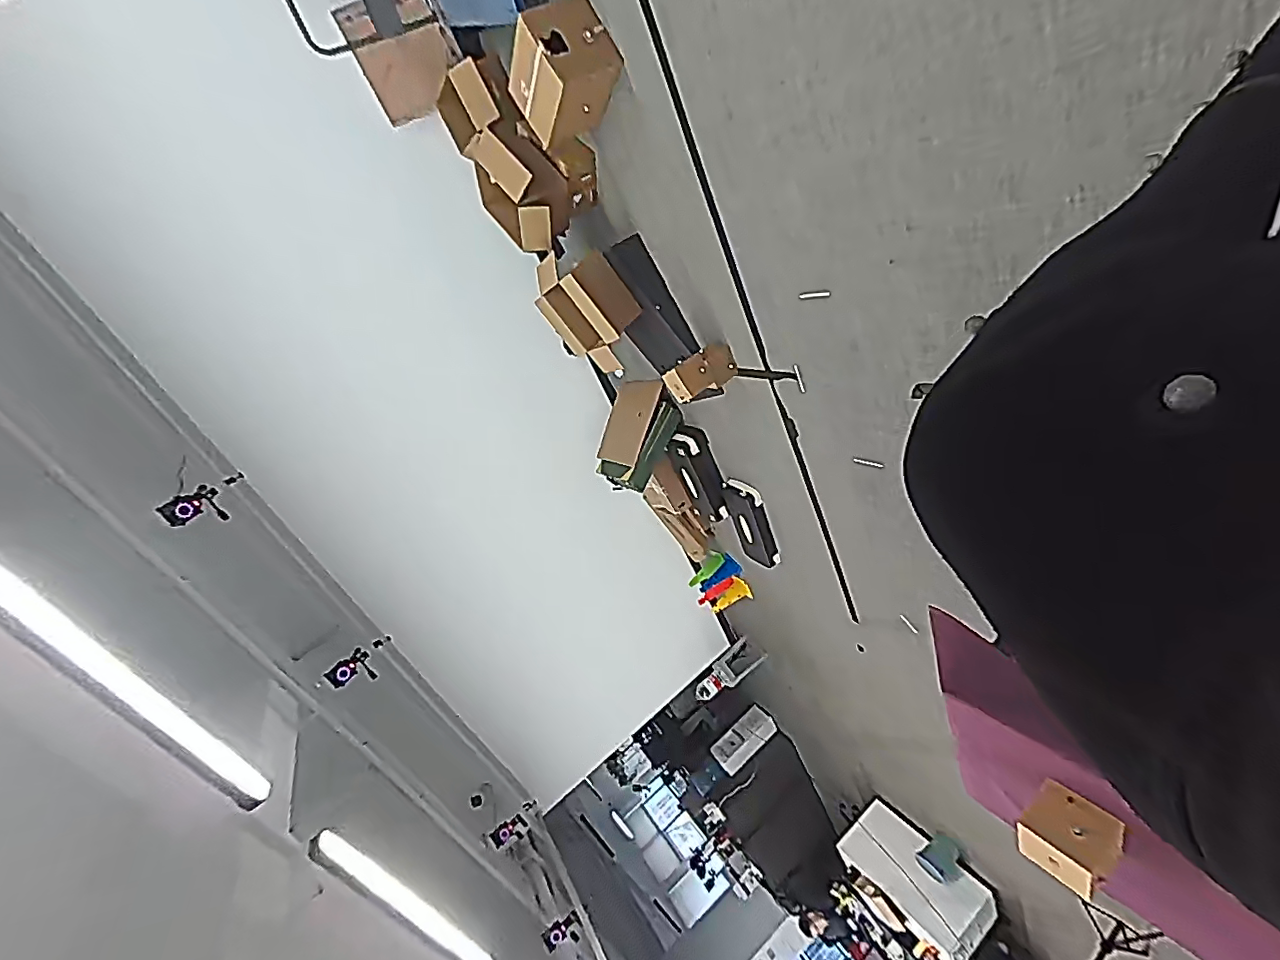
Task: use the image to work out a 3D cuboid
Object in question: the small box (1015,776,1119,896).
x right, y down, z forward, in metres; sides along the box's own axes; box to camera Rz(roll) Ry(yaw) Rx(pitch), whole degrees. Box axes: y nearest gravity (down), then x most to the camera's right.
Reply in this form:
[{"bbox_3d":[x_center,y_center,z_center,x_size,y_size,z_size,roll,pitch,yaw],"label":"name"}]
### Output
[{"bbox_3d":[1.128,0.932,1.431,0.168,0.176,0.179,26,148,54],"label":"small box"}]
